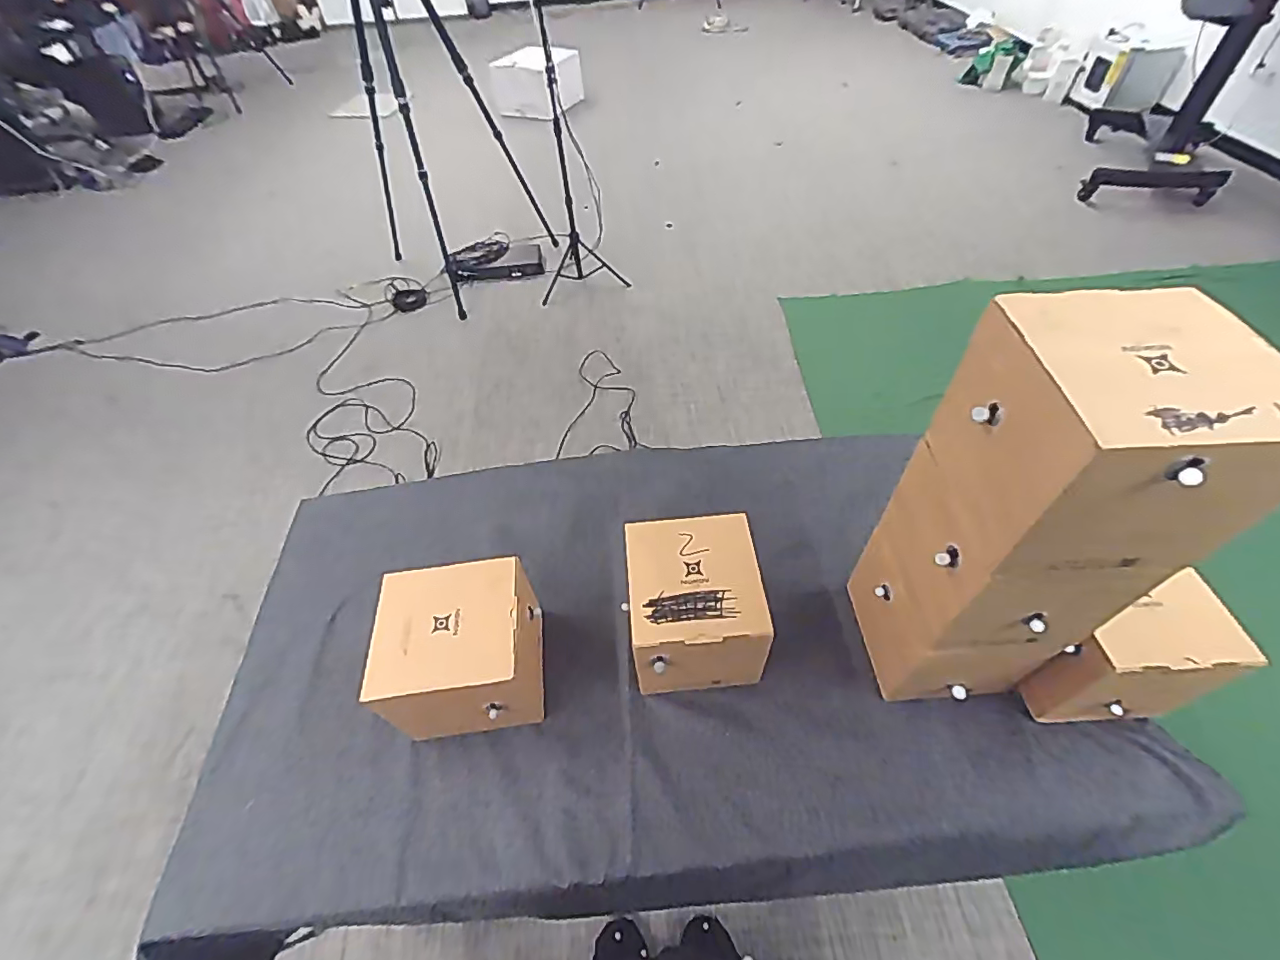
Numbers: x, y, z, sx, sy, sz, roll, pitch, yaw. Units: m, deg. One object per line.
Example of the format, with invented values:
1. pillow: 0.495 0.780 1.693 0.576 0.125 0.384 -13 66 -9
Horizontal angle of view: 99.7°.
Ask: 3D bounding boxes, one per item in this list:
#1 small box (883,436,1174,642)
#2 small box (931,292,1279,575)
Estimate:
1. small box: 0.390 0.066 0.588 0.168 0.176 0.179 -3 50 2
2. small box: 0.380 -0.037 0.460 0.168 0.176 0.179 -2 50 3
